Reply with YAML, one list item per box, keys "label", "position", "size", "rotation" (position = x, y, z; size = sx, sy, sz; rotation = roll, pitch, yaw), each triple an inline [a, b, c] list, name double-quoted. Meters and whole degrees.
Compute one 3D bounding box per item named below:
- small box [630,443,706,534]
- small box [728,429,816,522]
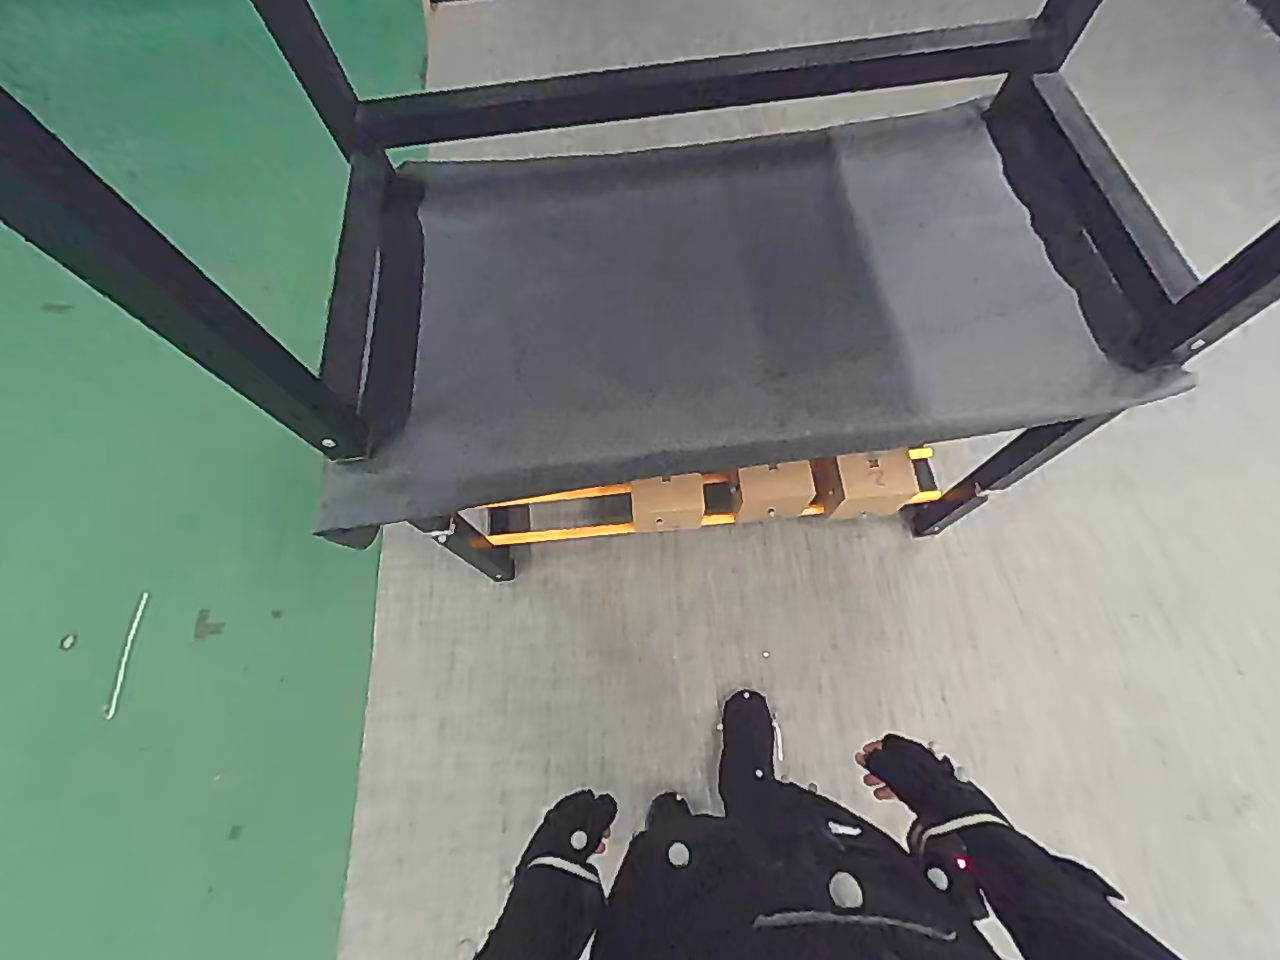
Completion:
- label: "small box"
  position: [0.066, 0.027, 1.313]
  size: [0.168, 0.176, 0.179]
  rotation: [-5, 68, 0]
- label: "small box"
  position: [0.311, -0.002, 1.309]
  size: [0.168, 0.176, 0.179]
  rotation: [-6, 67, 1]
